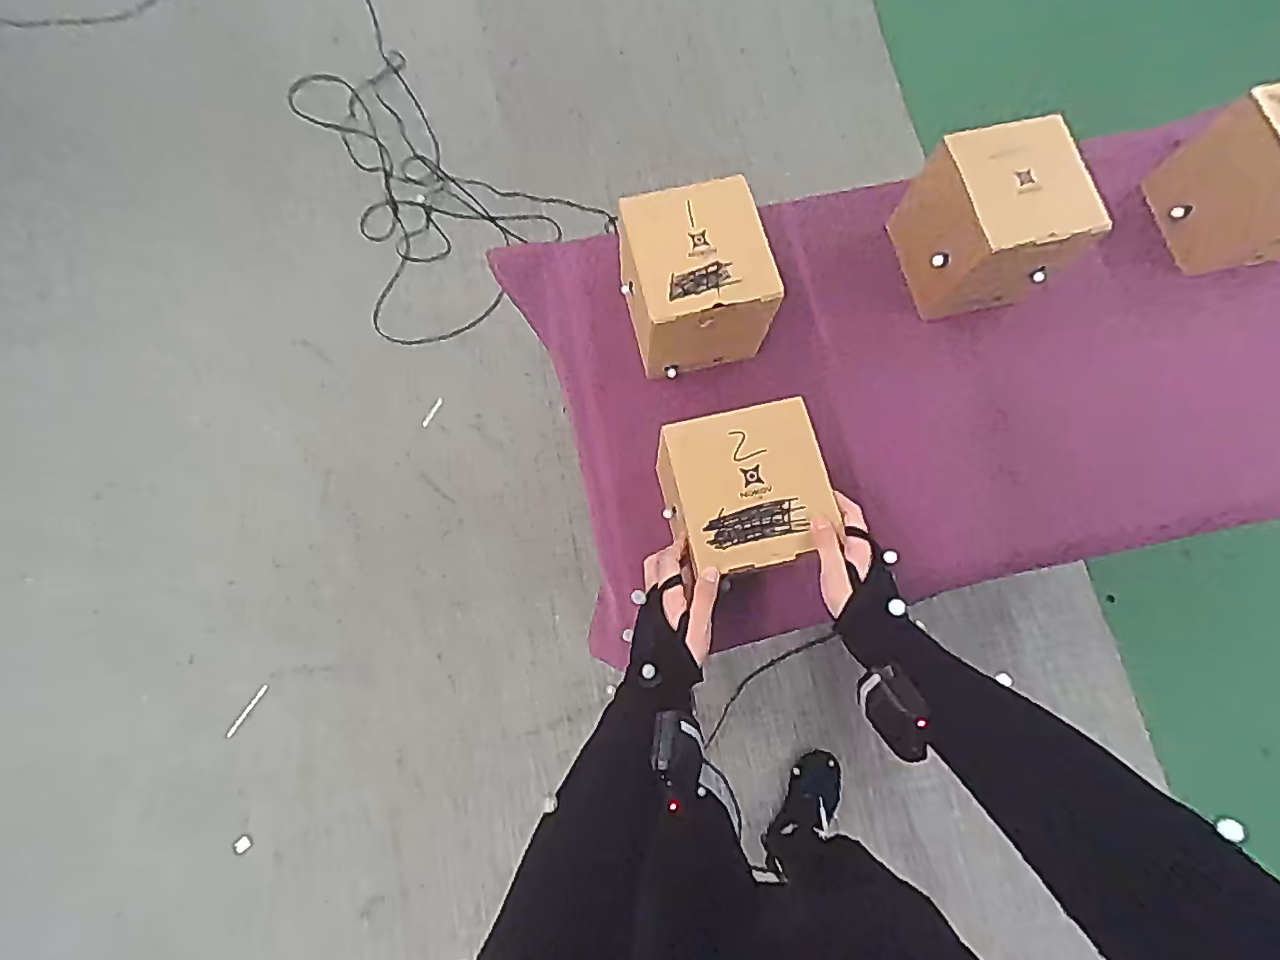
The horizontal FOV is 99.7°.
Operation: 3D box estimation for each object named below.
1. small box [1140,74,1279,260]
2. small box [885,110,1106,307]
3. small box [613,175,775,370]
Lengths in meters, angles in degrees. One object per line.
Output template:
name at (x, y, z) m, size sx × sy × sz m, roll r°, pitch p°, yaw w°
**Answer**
small box at (0.885, -0.437, 0.768) m, size 0.168 × 0.176 × 0.179 m, roll -11°, pitch 78°, yaw -2°
small box at (0.476, -0.362, 0.755) m, size 0.168 × 0.176 × 0.179 m, roll -12°, pitch 77°, yaw -3°
small box at (0.064, -0.265, 0.731) m, size 0.168 × 0.176 × 0.179 m, roll -13°, pitch 77°, yaw -4°
